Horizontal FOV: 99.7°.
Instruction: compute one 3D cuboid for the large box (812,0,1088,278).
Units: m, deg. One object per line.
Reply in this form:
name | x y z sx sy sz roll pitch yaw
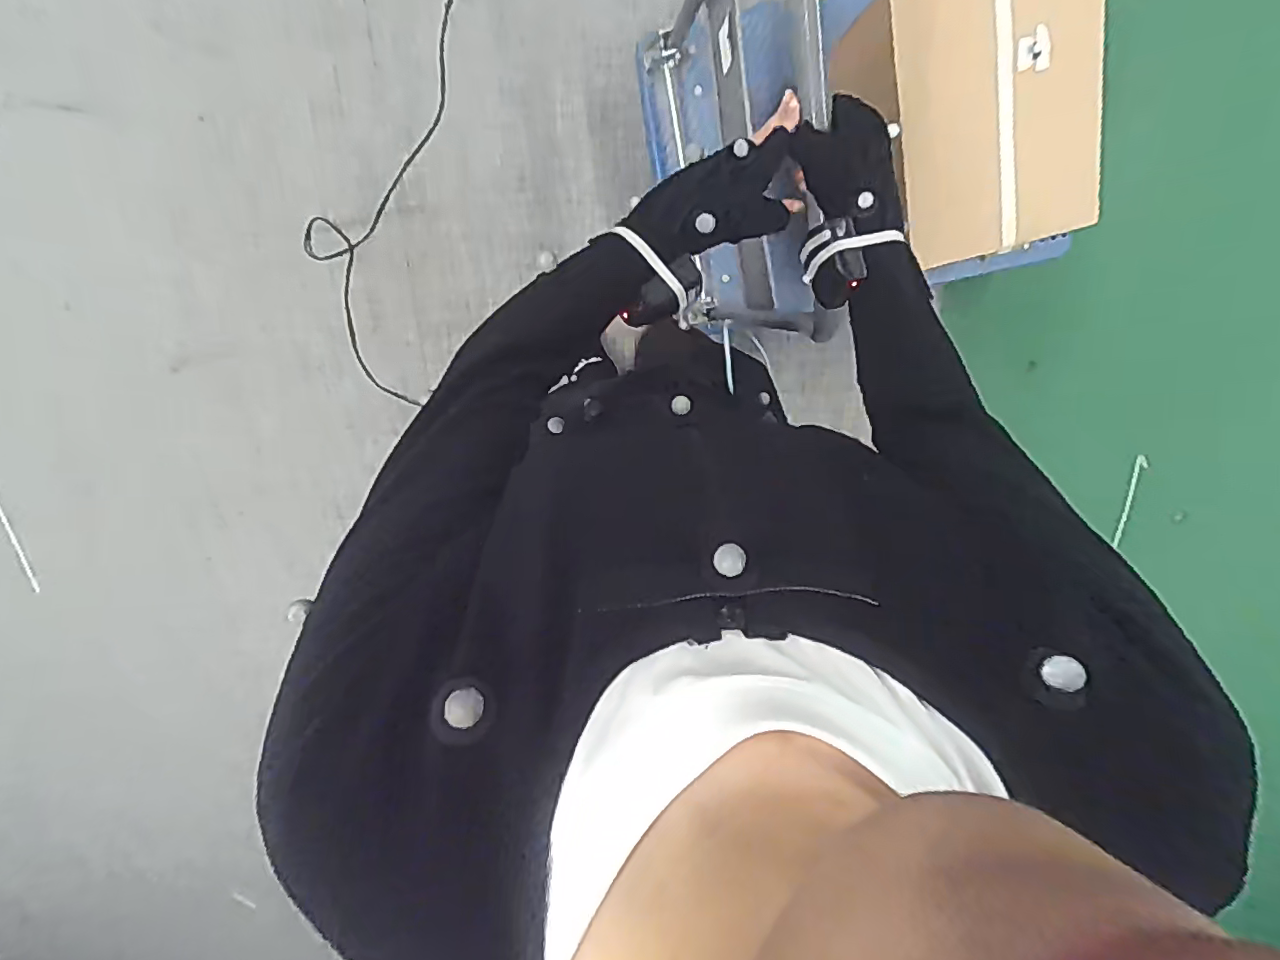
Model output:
large box | 0.538 -0.617 0.982 0.320 0.320 0.408 -14 108 1
